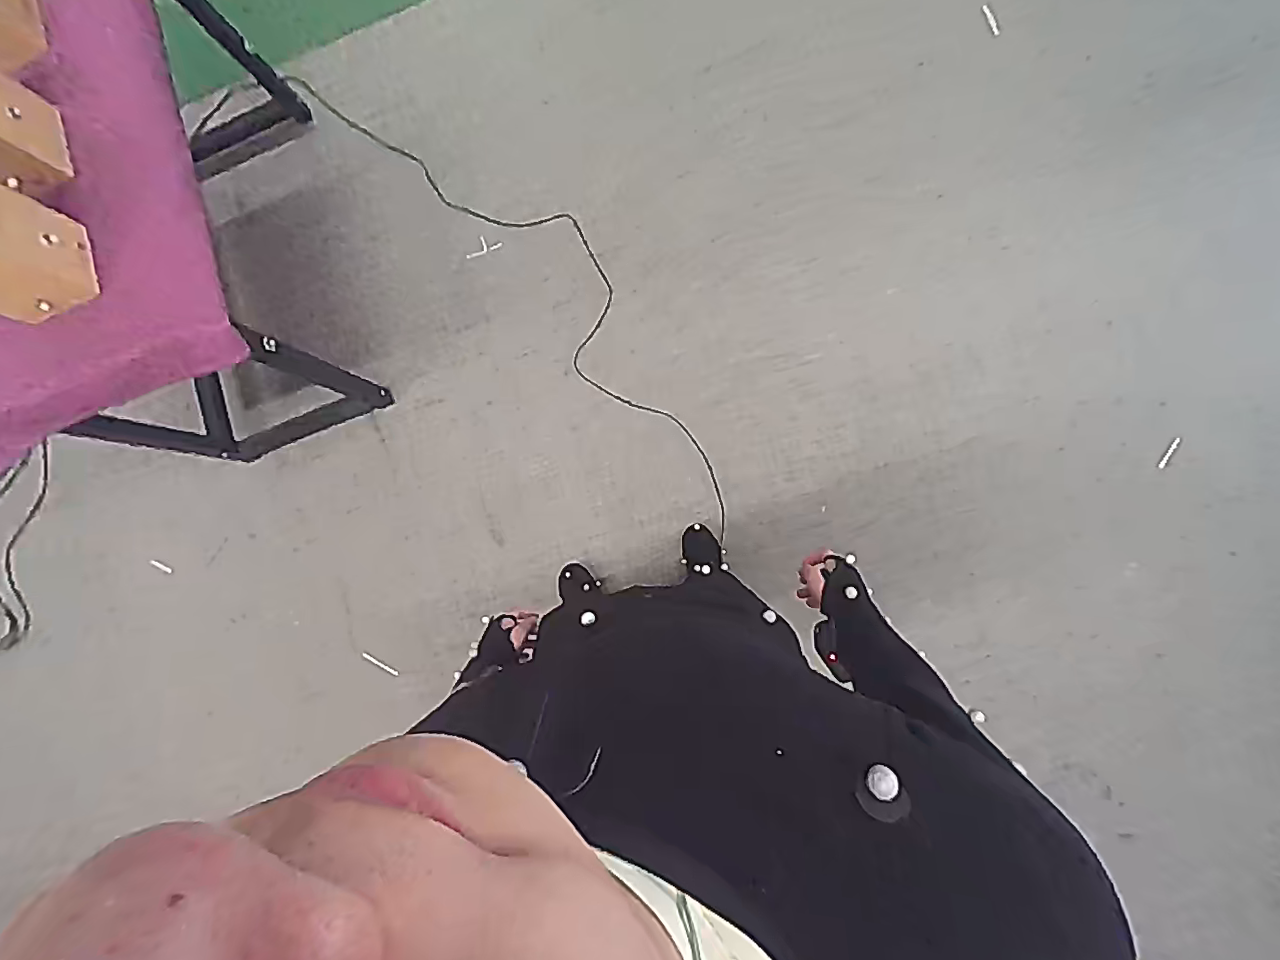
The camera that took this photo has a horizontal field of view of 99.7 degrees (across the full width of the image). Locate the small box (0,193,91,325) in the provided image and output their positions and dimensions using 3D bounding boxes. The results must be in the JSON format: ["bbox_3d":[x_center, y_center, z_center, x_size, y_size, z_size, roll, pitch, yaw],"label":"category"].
[{"bbox_3d":[-1.240,-0.435,1.063,0.179,0.176,0.168,-21,81,4],"label":"small box"}]

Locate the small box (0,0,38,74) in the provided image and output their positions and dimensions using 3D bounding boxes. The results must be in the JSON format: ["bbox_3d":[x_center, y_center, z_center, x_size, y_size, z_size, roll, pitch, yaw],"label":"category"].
[{"bbox_3d":[-1.442,-1.006,1.145,0.179,0.176,0.168,-20,82,6],"label":"small box"}]

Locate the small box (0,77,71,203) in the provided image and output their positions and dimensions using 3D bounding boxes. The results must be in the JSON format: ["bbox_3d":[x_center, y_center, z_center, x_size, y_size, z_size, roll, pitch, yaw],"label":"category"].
[{"bbox_3d":[-1.335,-0.707,1.102,0.168,0.176,0.179,-21,83,5],"label":"small box"}]
